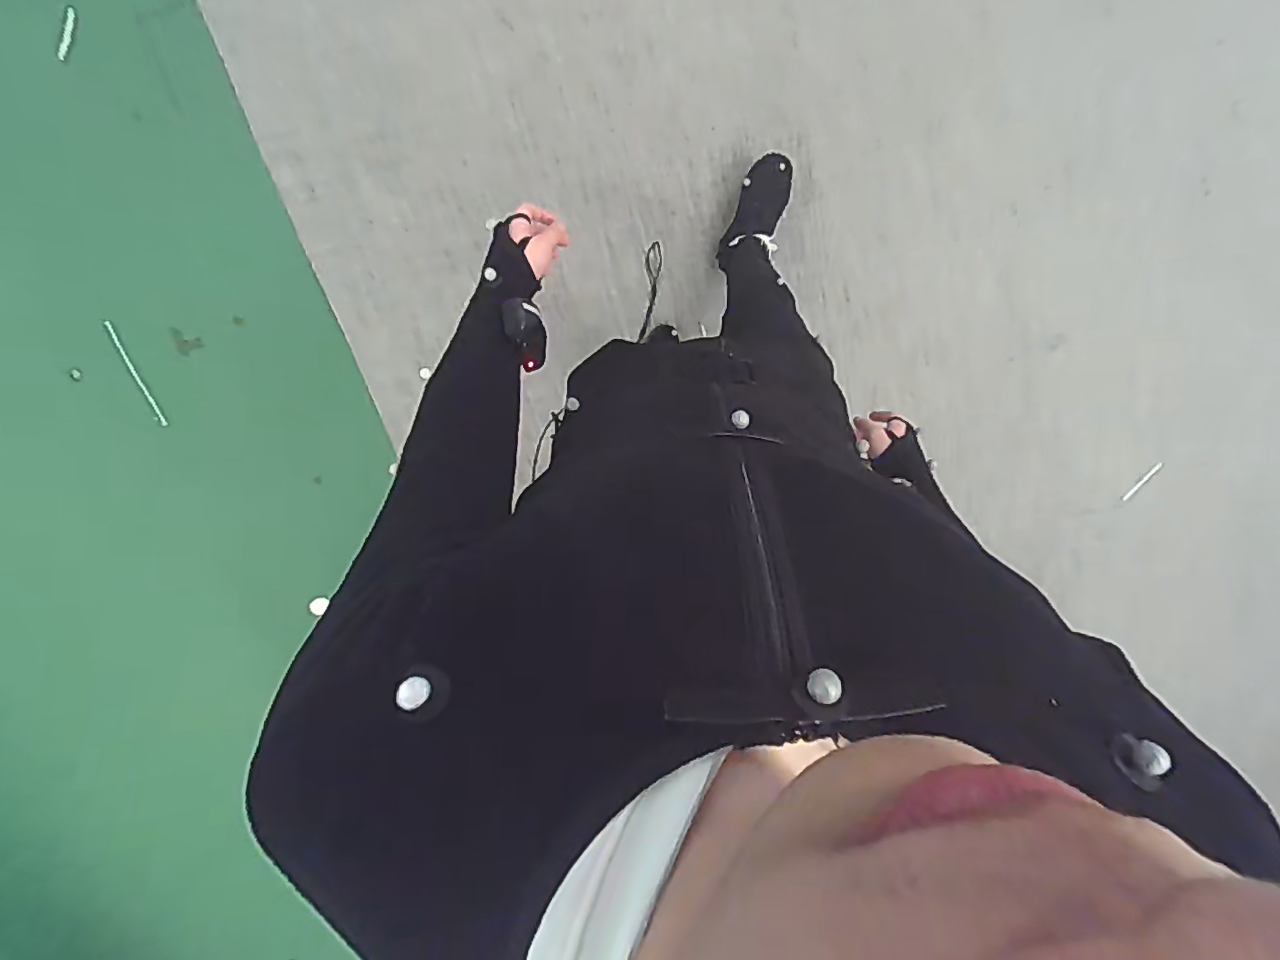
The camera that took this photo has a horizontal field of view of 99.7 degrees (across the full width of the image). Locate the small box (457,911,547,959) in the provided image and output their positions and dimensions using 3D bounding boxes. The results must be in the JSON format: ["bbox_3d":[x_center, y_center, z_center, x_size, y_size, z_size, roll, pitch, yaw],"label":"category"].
[{"bbox_3d":[-0.327,1.166,1.271,0.168,0.176,0.179,-12,110,4],"label":"small box"}]

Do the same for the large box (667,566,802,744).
[{"bbox_3d":[0.291,0.548,1.725,0.320,0.320,0.408,-15,112,8],"label":"large box"}]
